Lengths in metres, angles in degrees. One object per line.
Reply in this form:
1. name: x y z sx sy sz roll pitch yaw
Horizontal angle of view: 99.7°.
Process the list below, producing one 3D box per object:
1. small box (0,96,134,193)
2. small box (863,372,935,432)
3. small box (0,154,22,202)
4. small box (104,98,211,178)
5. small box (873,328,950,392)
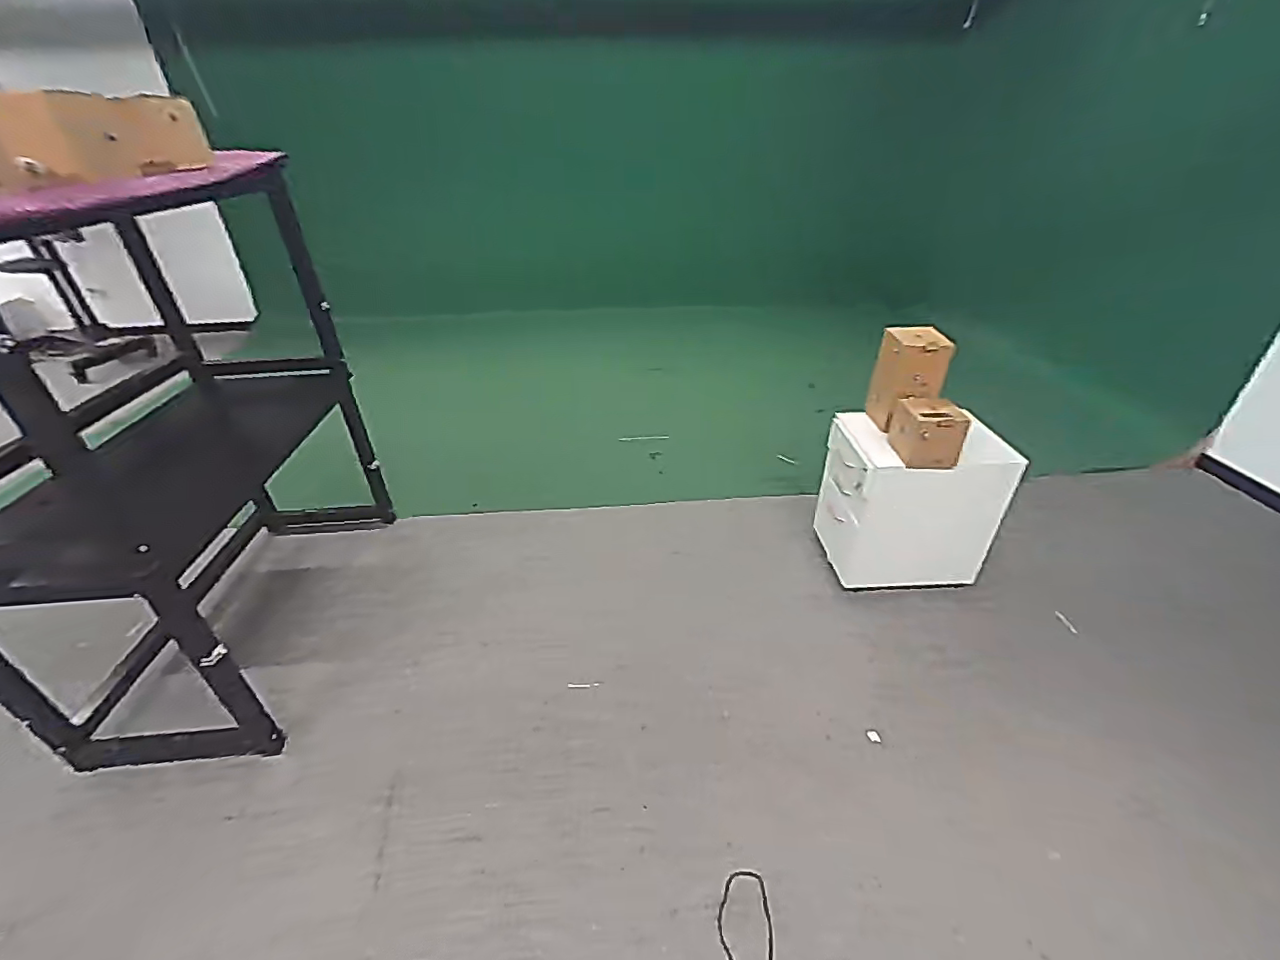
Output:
1. small box: -1.266 -0.727 1.173 0.168 0.176 0.179 -5 35 -4
2. small box: 0.942 -0.288 1.987 0.168 0.176 0.179 -3 34 -2
3. small box: -1.232 -0.553 0.904 0.179 0.176 0.168 -4 32 -4
4. small box: -1.318 -0.920 1.459 0.168 0.176 0.179 -5 34 -1
5. small box: 0.941 -0.423 1.896 0.168 0.176 0.179 -1 36 -1
